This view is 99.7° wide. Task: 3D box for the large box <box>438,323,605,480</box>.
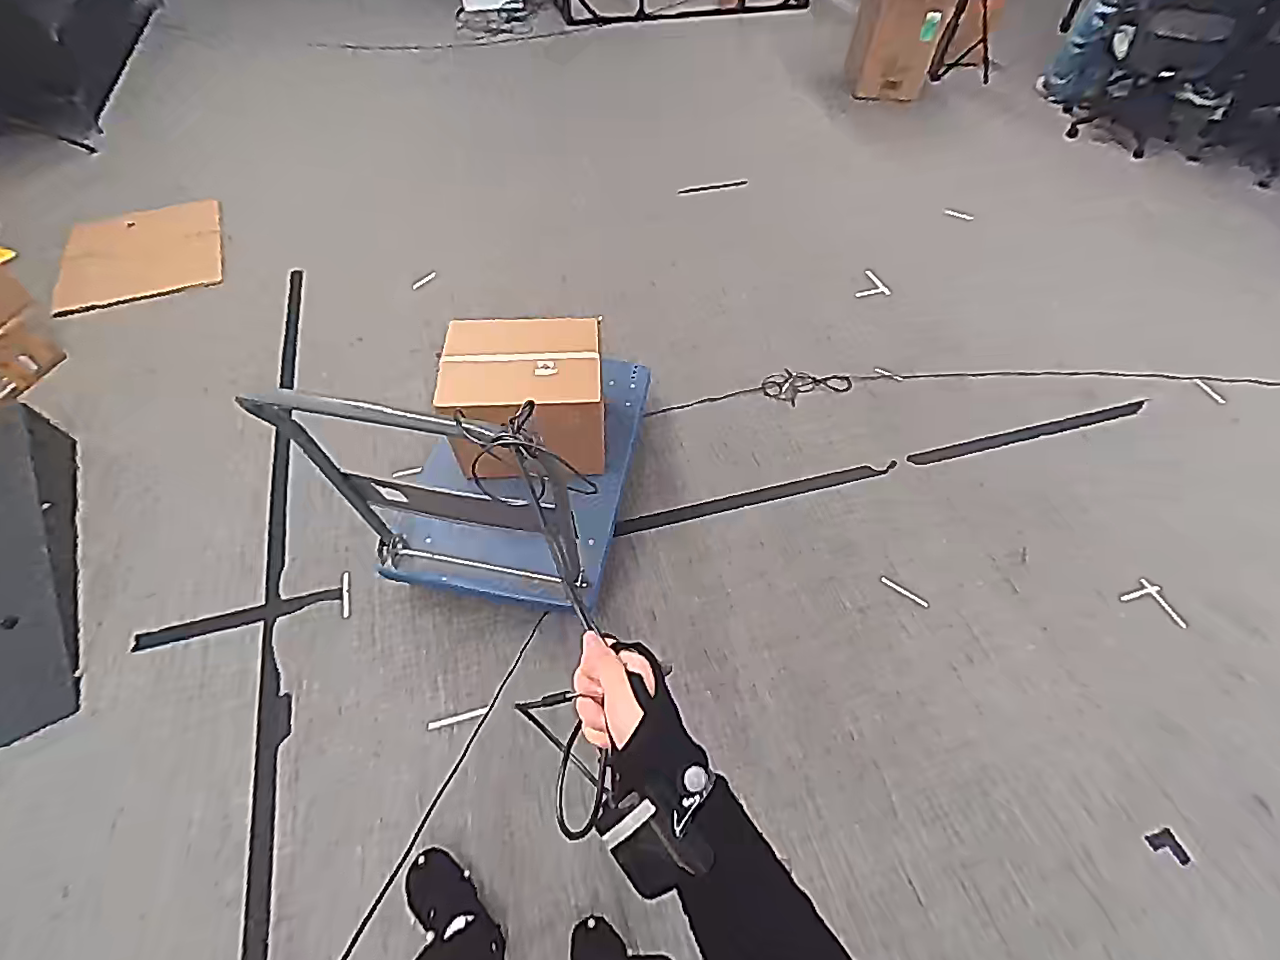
[{"bbox_3d":[-0.304,-0.215,1.509,0.408,0.320,0.320,-2,56,-4],"label":"large box"}]
